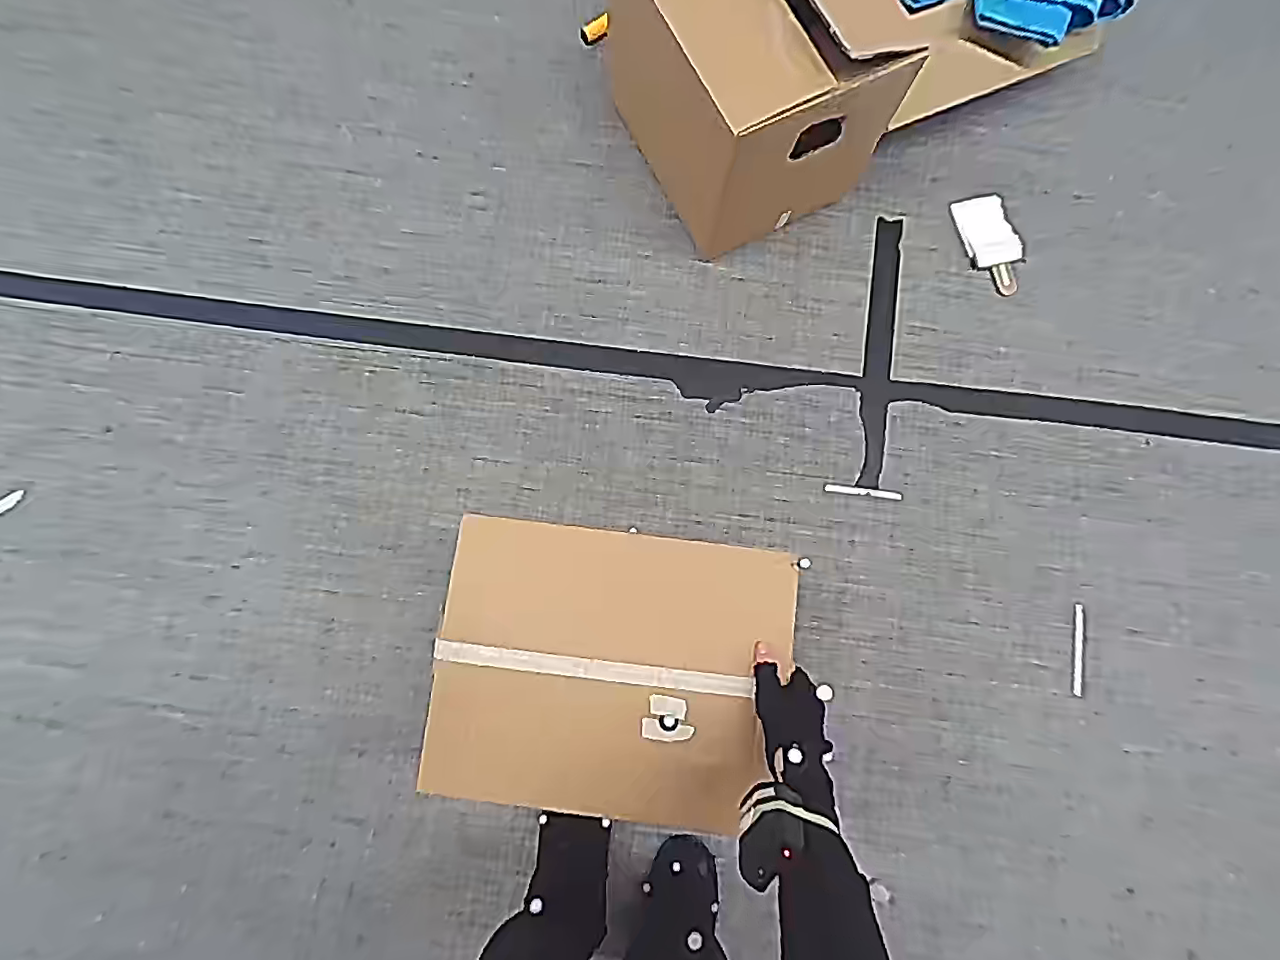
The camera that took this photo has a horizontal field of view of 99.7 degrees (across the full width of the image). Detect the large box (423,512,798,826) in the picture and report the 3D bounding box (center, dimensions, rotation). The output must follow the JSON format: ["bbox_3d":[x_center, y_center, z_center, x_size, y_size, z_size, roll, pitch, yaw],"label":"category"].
[{"bbox_3d":[-0.029,0.232,0.757,0.408,0.320,0.320,6,81,1],"label":"large box"}]
